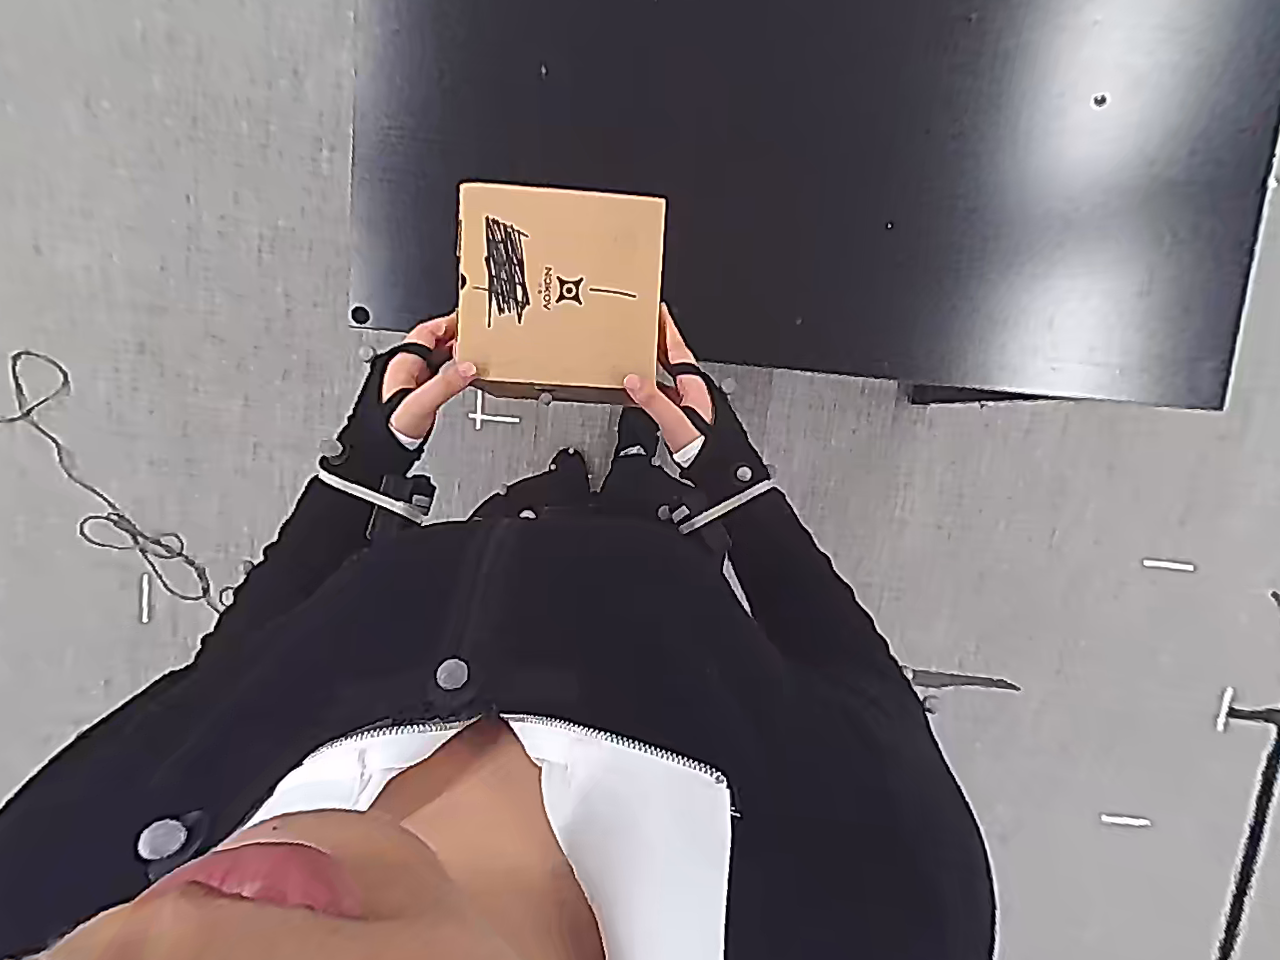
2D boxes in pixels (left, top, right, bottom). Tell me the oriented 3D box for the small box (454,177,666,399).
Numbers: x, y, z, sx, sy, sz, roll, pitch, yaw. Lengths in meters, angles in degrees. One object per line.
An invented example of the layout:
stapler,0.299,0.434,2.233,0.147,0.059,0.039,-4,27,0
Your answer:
small box,-0.072,-0.175,0.545,0.179,0.176,0.168,3,92,-4
